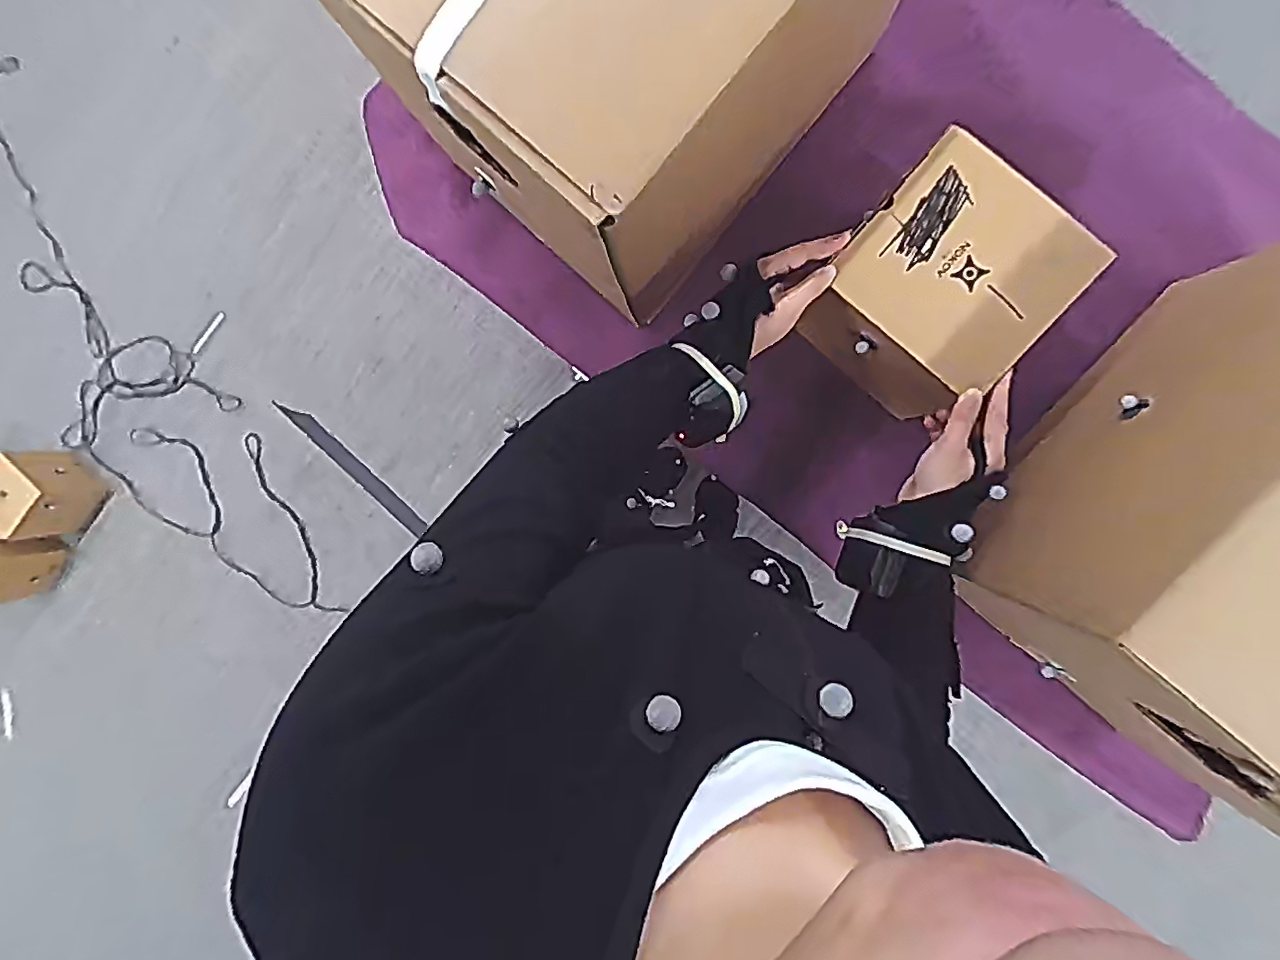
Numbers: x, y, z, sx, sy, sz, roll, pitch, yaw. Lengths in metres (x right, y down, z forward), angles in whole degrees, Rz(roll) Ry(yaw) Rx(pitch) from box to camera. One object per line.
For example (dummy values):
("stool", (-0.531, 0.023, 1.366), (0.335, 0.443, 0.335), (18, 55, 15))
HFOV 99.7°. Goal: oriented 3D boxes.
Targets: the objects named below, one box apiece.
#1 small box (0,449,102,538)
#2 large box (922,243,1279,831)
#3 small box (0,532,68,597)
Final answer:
("small box", (-1.638, 0.030, 1.470), (0.168, 0.176, 0.179), (43, 97, 3))
("large box", (0.536, 0.042, 0.440), (0.320, 0.320, 0.408), (41, 95, 2))
("small box", (-1.777, 0.215, 1.499), (0.179, 0.176, 0.168), (35, 96, 3))
